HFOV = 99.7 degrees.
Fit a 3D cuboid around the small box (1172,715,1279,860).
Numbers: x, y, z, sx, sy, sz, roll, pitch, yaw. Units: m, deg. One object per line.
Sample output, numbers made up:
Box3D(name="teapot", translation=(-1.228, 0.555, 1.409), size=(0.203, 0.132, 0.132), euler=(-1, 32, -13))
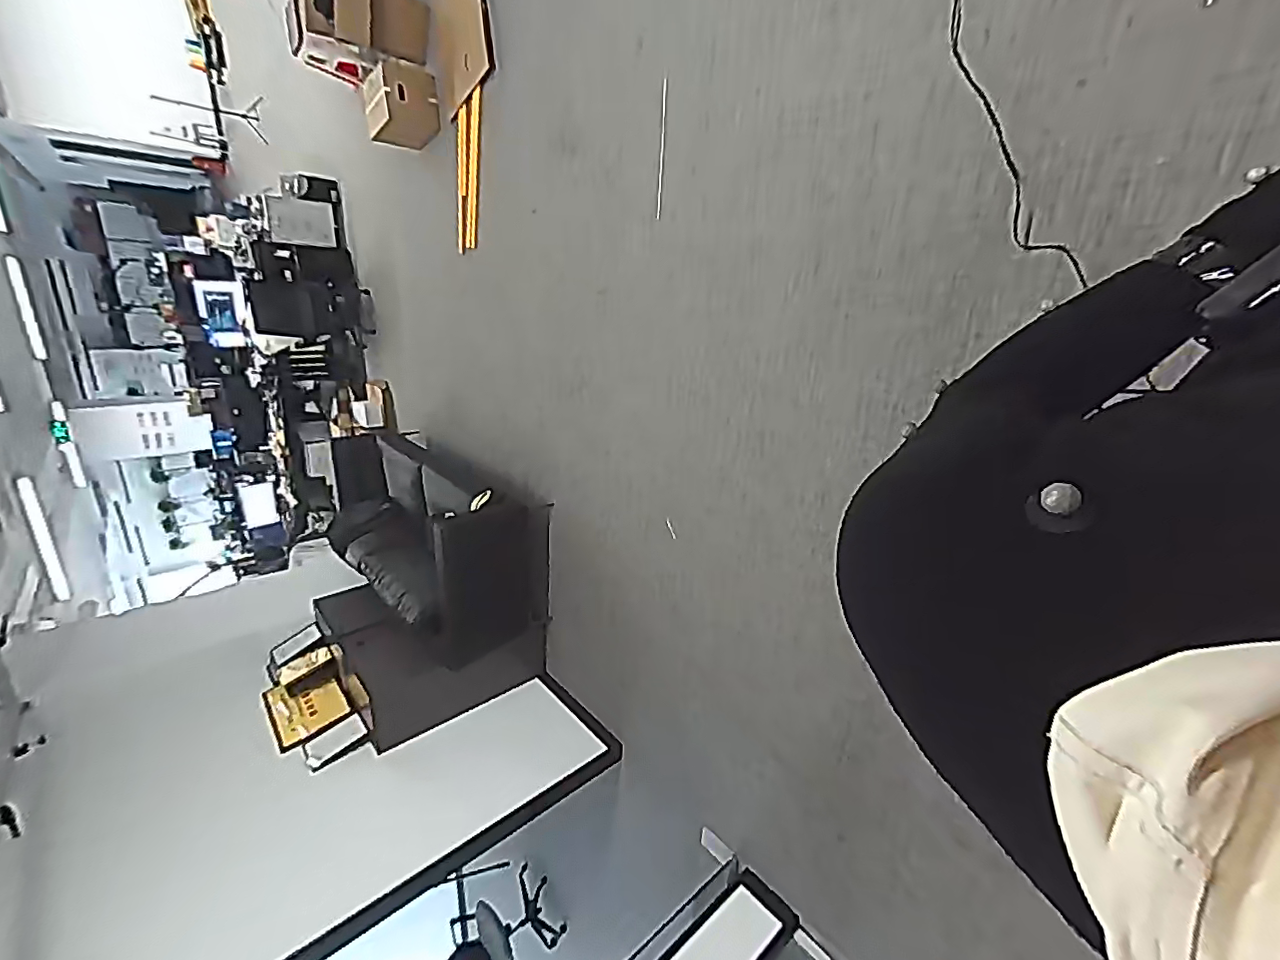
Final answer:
Box3D(name="small box", translation=(1.282, 0.637, 1.139), size=(0.179, 0.176, 0.168), euler=(27, 120, 42))
